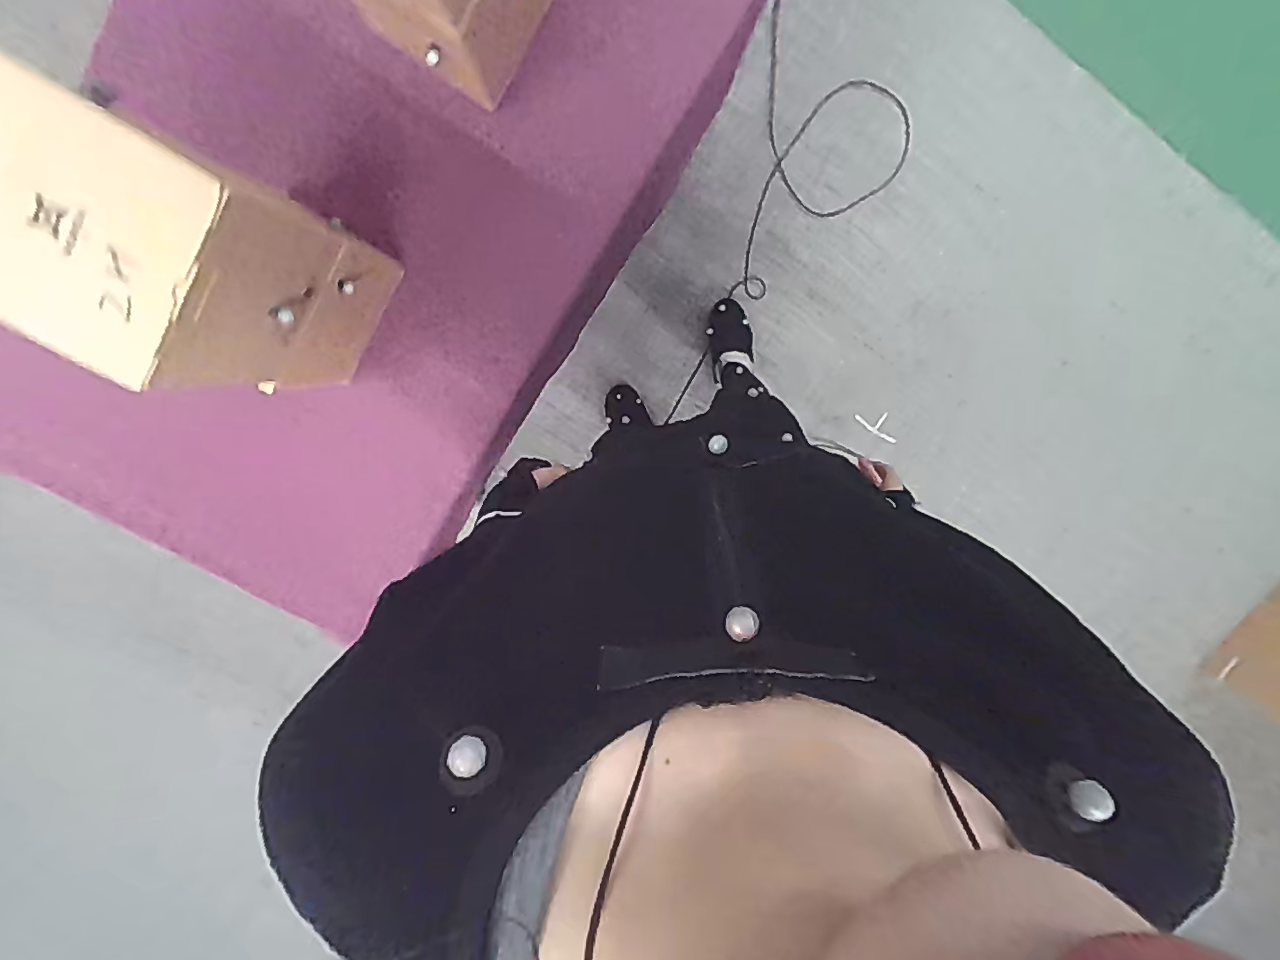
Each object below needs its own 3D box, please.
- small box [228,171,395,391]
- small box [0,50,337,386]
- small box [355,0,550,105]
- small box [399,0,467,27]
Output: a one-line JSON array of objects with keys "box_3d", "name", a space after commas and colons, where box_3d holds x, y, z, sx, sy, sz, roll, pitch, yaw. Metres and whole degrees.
[{"box_3d": [-0.413, -0.219, 0.619, 0.168, 0.176, 0.179, 30, 99, -8], "name": "small box"}, {"box_3d": [-0.405, -0.193, 0.456, 0.179, 0.176, 0.168, 30, 99, -8], "name": "small box"}, {"box_3d": [-0.200, -0.542, 0.557, 0.168, 0.176, 0.179, 31, 99, -10], "name": "small box"}, {"box_3d": [-0.193, -0.507, 0.397, 0.168, 0.176, 0.179, 30, 100, -9], "name": "small box"}]
